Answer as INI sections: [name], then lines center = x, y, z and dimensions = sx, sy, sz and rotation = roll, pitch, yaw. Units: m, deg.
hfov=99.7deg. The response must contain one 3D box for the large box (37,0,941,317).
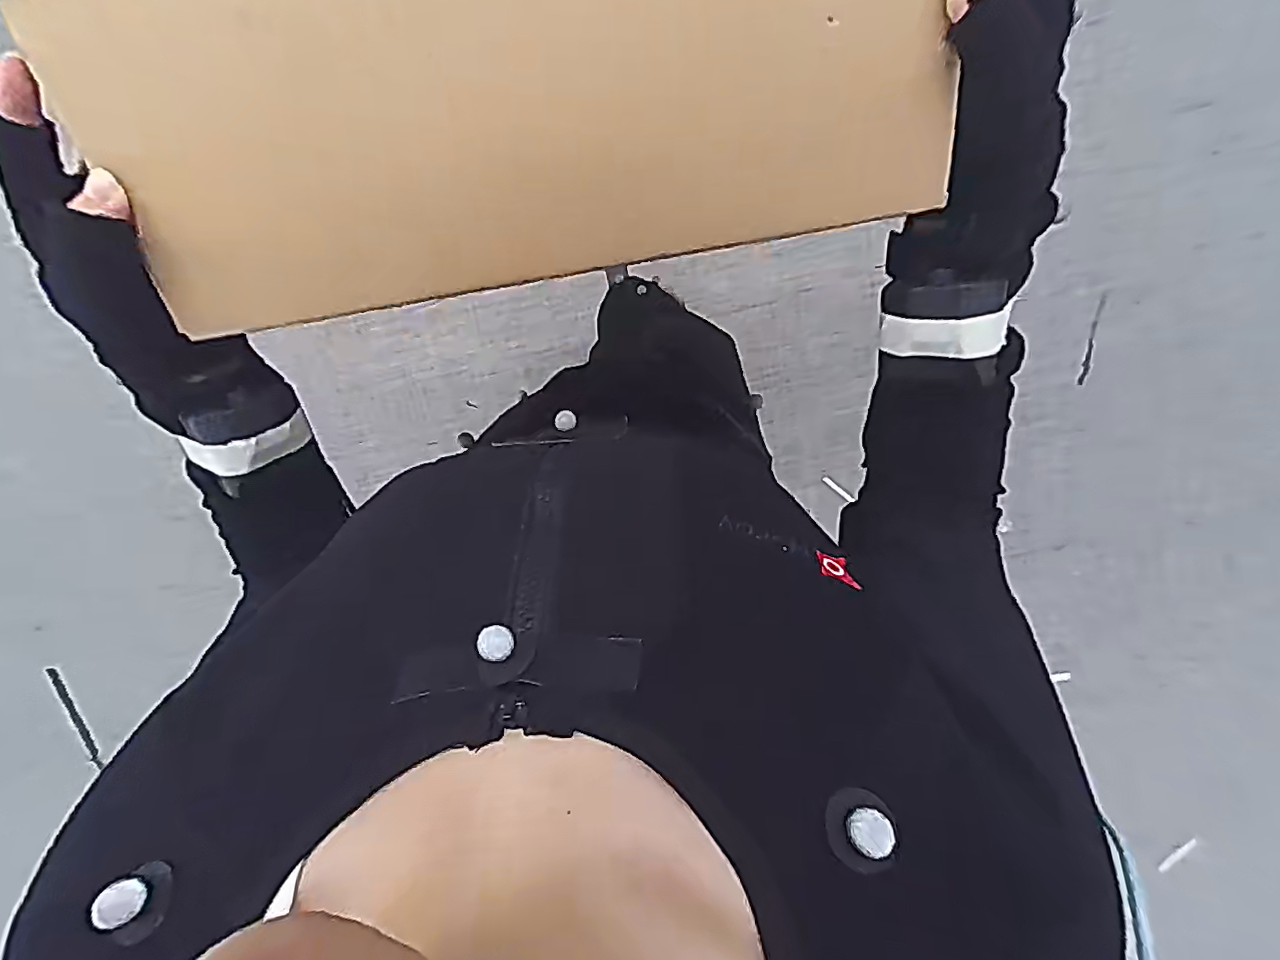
[large box]
center = -0.076, -0.324, 0.351
dimensions = 0.408, 0.320, 0.320
rotation = -9, 118, 4
